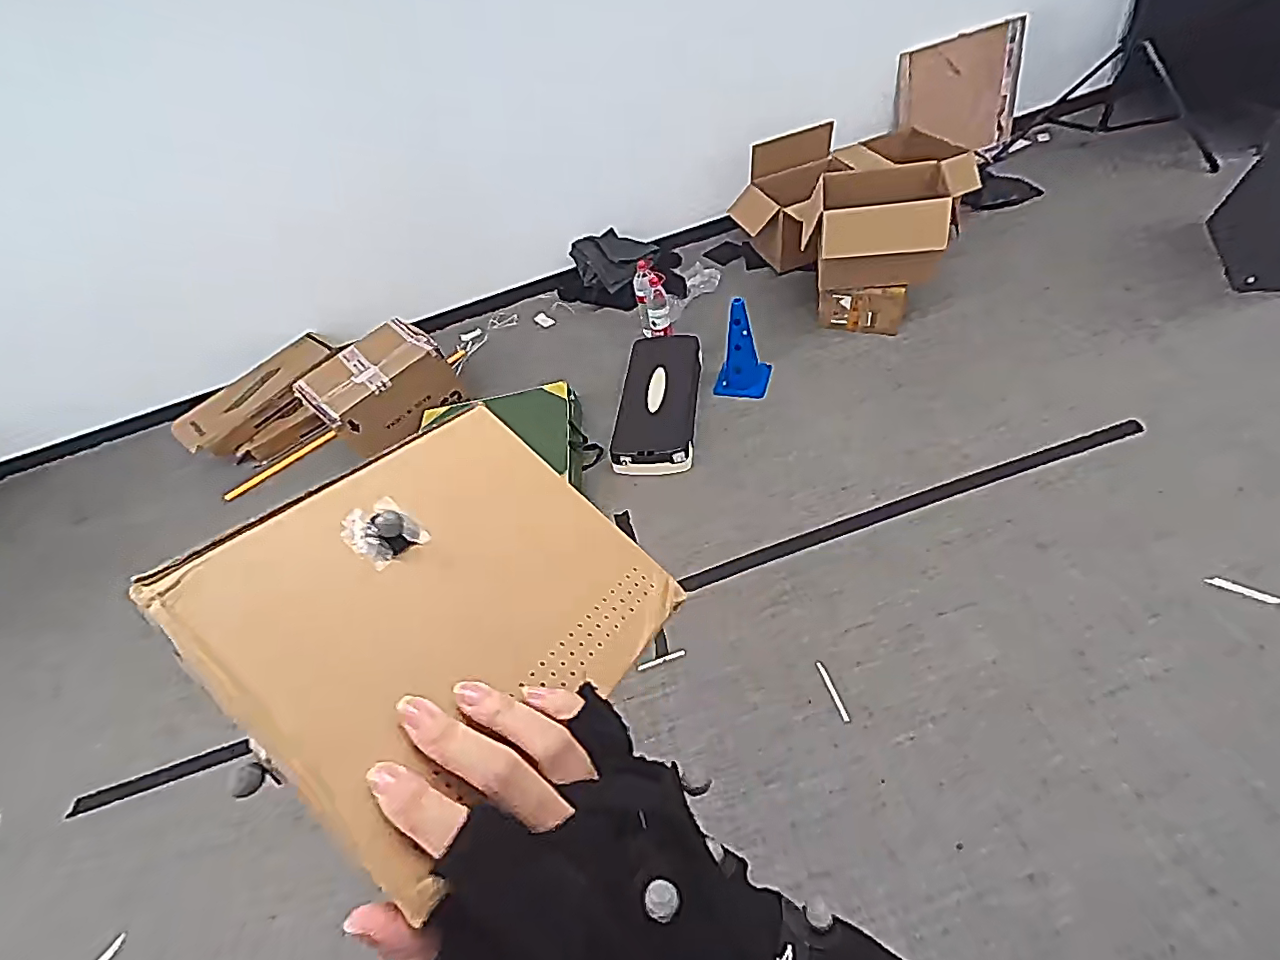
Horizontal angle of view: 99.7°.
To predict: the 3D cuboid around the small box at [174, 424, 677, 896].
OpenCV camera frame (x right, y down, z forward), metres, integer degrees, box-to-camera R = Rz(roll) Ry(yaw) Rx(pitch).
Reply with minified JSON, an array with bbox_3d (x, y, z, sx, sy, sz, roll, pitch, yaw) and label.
[{"bbox_3d":[-0.108,0.105,0.322,0.176,0.168,0.179,41,50,11],"label":"small box"}]
